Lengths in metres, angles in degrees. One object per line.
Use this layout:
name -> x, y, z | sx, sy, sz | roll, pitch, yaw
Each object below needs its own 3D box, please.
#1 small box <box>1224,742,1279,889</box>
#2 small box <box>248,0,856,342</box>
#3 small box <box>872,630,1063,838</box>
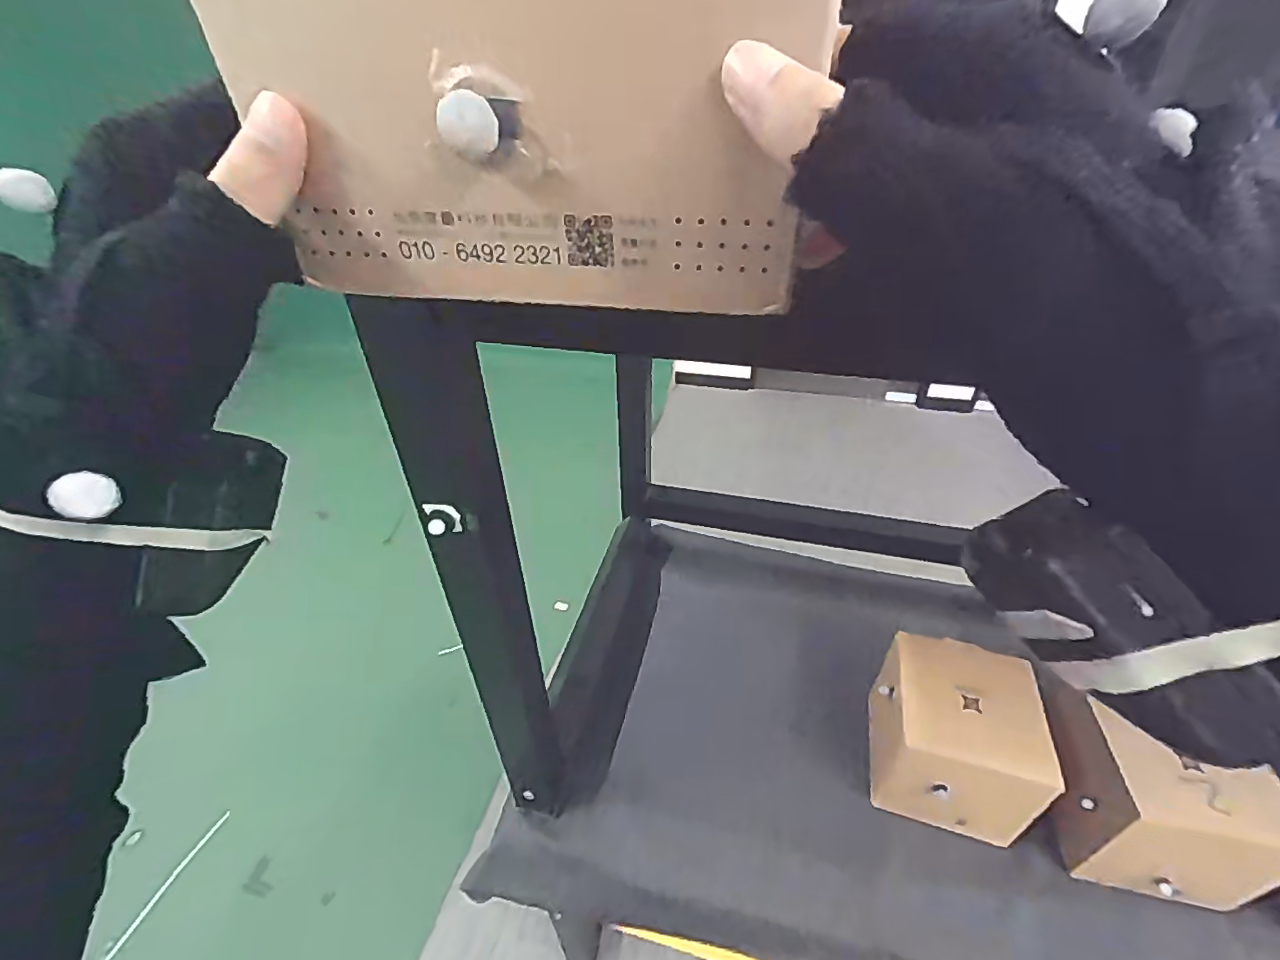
small box -> 0.843, 0.414, 0.604 | 0.168, 0.176, 0.179 | 7, 37, 10
small box -> -0.017, -0.167, 0.195 | 0.168, 0.176, 0.179 | 5, 40, 9
small box -> 0.419, 0.339, 0.726 | 0.168, 0.176, 0.179 | 10, 38, 15
